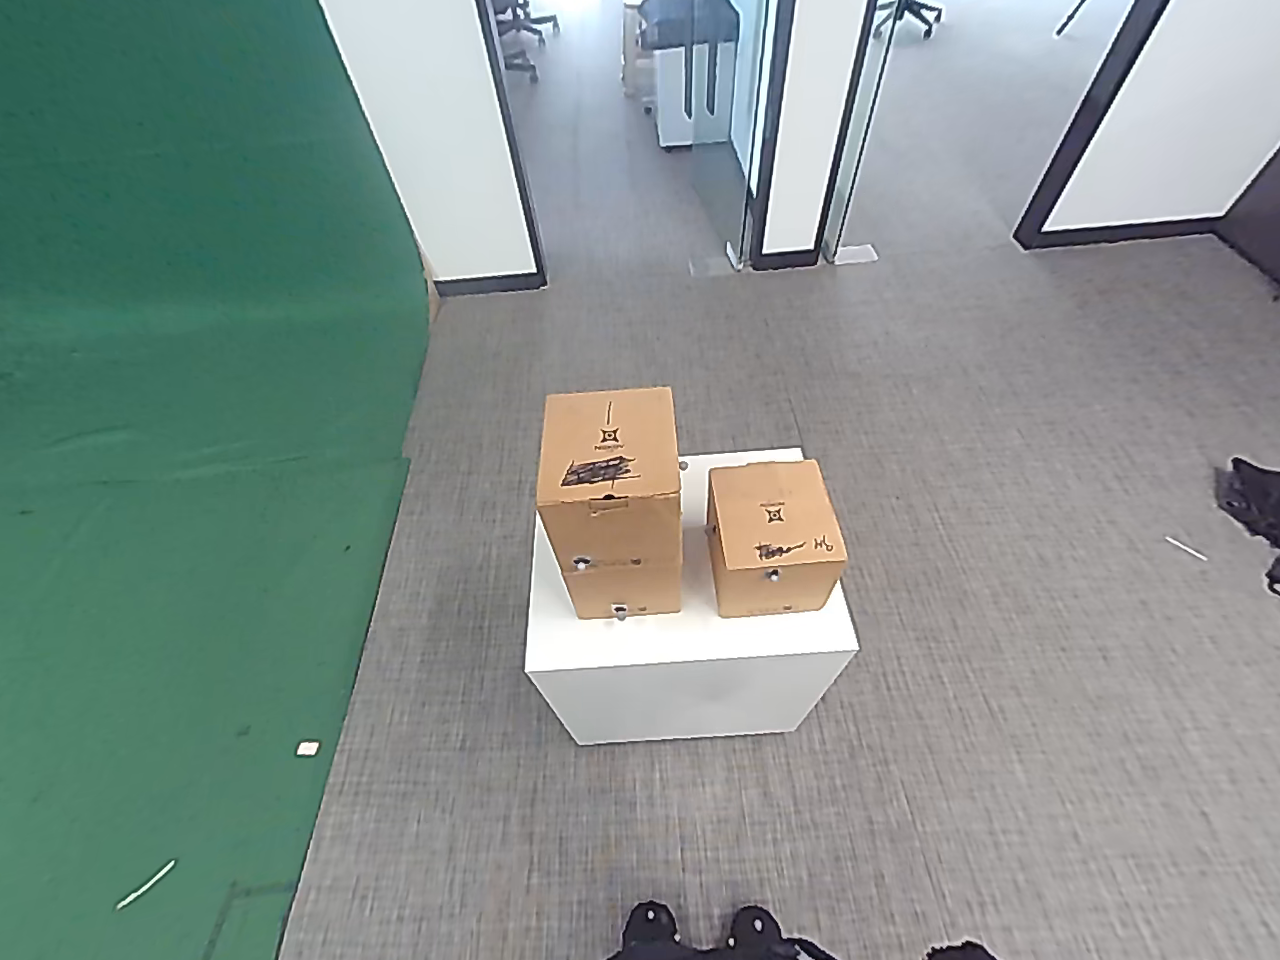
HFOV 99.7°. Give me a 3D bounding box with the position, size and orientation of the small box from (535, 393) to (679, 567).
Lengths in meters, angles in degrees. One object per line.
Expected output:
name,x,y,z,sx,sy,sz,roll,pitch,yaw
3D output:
small box,-0.034,0.008,0.726,0.168,0.176,0.179,-3,51,2

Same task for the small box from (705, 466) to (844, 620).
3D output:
small box,0.194,0.099,0.843,0.168,0.176,0.179,-4,52,1

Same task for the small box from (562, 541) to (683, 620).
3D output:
small box,-0.026,0.098,0.843,0.168,0.176,0.179,-6,54,0
